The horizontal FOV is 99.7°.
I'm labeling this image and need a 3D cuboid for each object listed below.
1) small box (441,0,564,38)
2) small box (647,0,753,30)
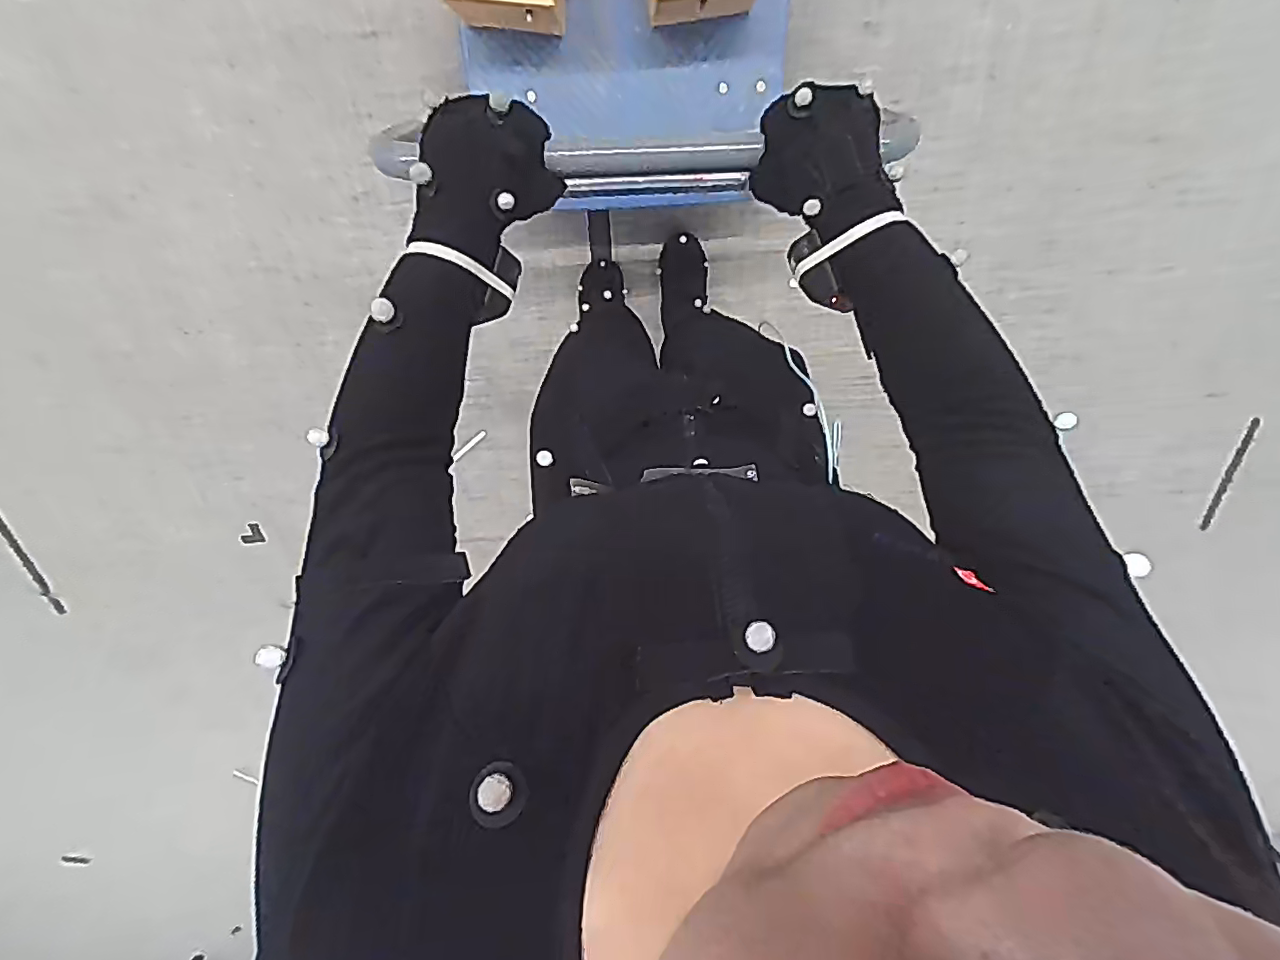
[{"bbox_3d":[-0.212,-0.814,0.838,0.179,0.176,0.168,2,118,-4],"label":"small box"},{"bbox_3d":[0.094,-0.830,0.839,0.179,0.176,0.168,-7,119,2],"label":"small box"}]
